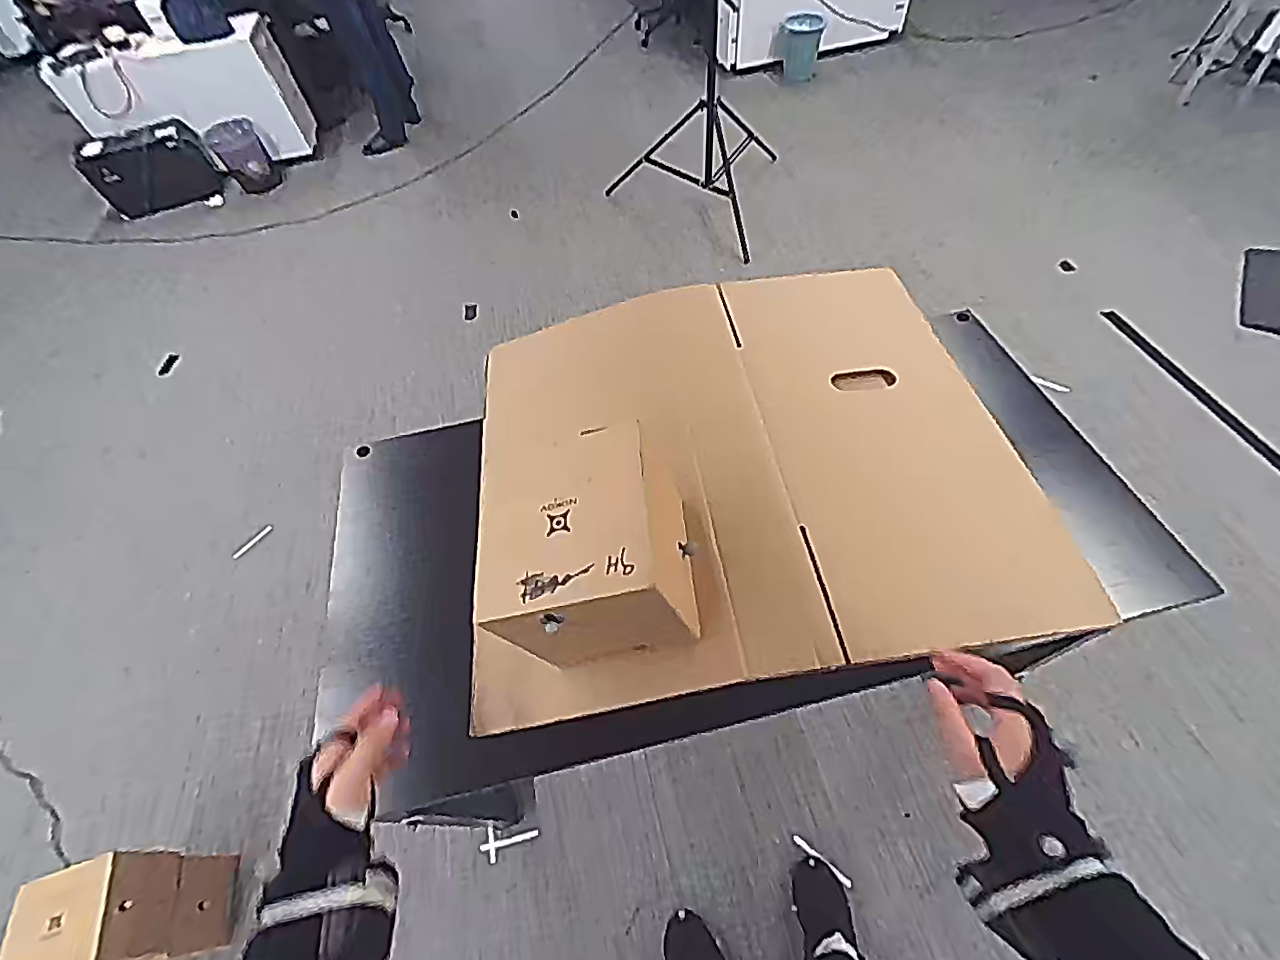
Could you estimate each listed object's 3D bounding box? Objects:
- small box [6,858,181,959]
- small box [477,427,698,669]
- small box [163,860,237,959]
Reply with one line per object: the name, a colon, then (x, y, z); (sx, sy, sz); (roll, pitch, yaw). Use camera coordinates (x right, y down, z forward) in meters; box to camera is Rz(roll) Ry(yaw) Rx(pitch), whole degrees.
small box: (-1.018, 0.841, 1.019); (0.168, 0.176, 0.179); (-19, 55, -8)
small box: (-0.045, 0.078, 0.561); (0.168, 0.176, 0.179); (-15, 55, 12)
small box: (-1.001, 0.937, 1.149); (0.168, 0.176, 0.179); (-17, 57, -6)
